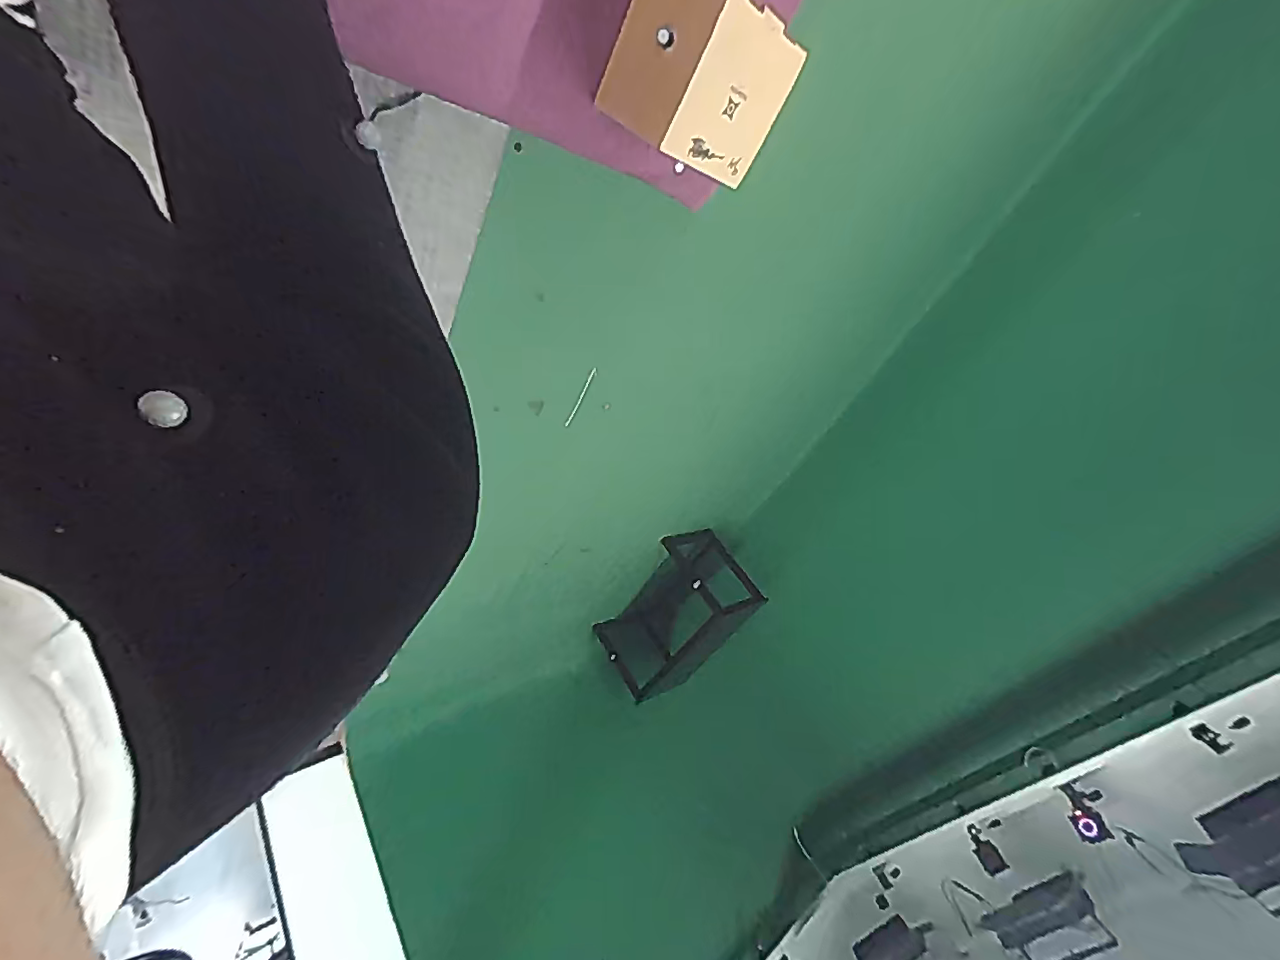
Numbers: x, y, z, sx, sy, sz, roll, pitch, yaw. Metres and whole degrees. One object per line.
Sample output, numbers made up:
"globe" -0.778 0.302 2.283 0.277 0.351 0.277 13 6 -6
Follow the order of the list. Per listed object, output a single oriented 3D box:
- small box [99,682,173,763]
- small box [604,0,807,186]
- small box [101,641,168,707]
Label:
"small box" -1.704 0.813 1.827 0.168 0.176 0.179 5 131 -48
"small box" 0.078 -0.538 0.722 0.168 0.176 0.179 -4 135 -43
"small box" -1.784 0.695 1.907 0.168 0.176 0.179 1 133 -45
